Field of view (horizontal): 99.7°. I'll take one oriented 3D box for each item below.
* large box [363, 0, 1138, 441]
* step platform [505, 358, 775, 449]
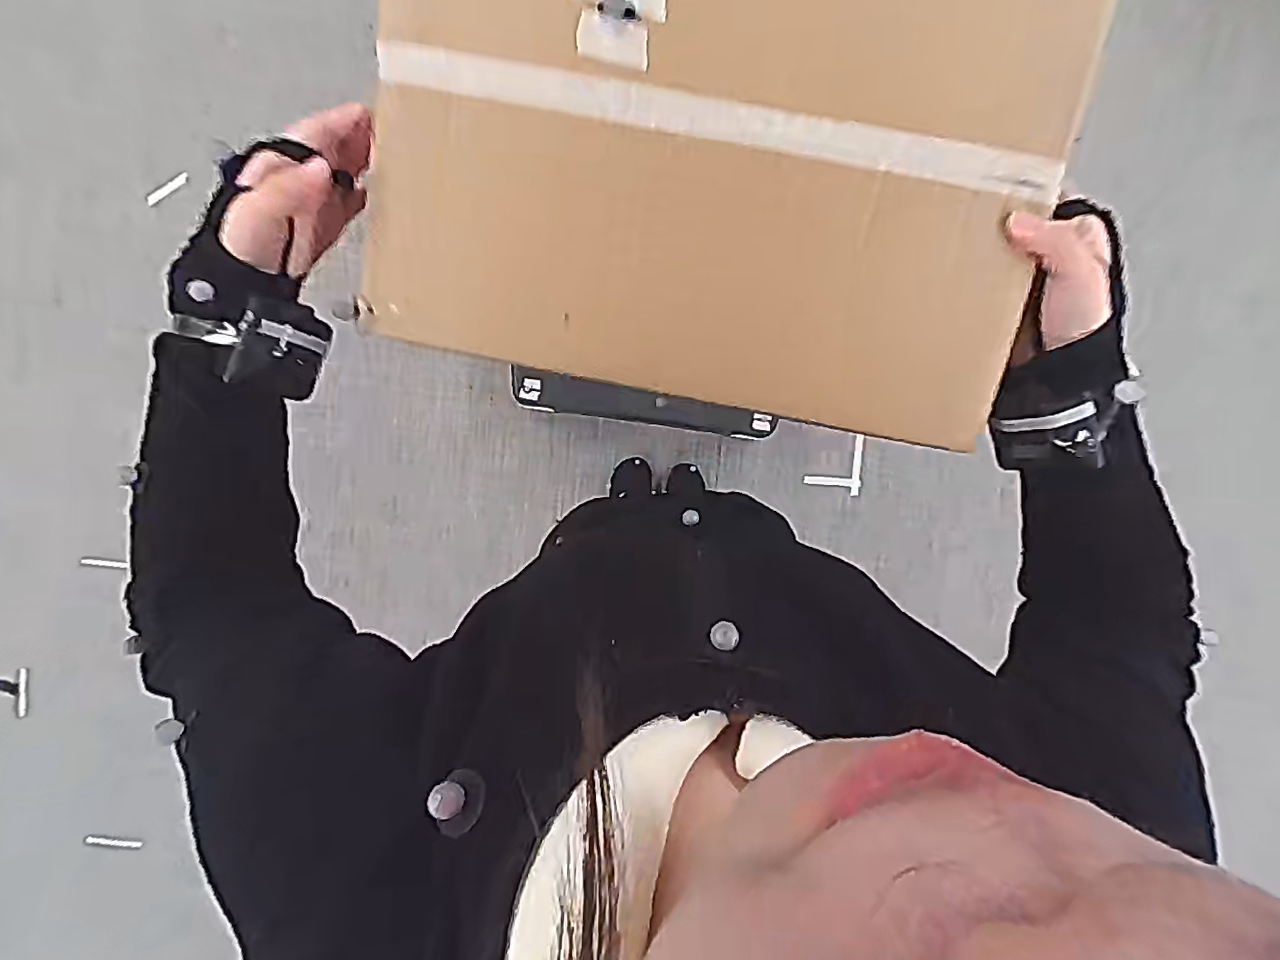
[{"bbox_3d":[0.059,-0.234,0.447,0.408,0.320,0.320,12,101,2],"label":"large box"},{"bbox_3d":[0.014,-0.284,1.366,0.684,0.204,0.286,13,94,-1],"label":"step platform"}]
